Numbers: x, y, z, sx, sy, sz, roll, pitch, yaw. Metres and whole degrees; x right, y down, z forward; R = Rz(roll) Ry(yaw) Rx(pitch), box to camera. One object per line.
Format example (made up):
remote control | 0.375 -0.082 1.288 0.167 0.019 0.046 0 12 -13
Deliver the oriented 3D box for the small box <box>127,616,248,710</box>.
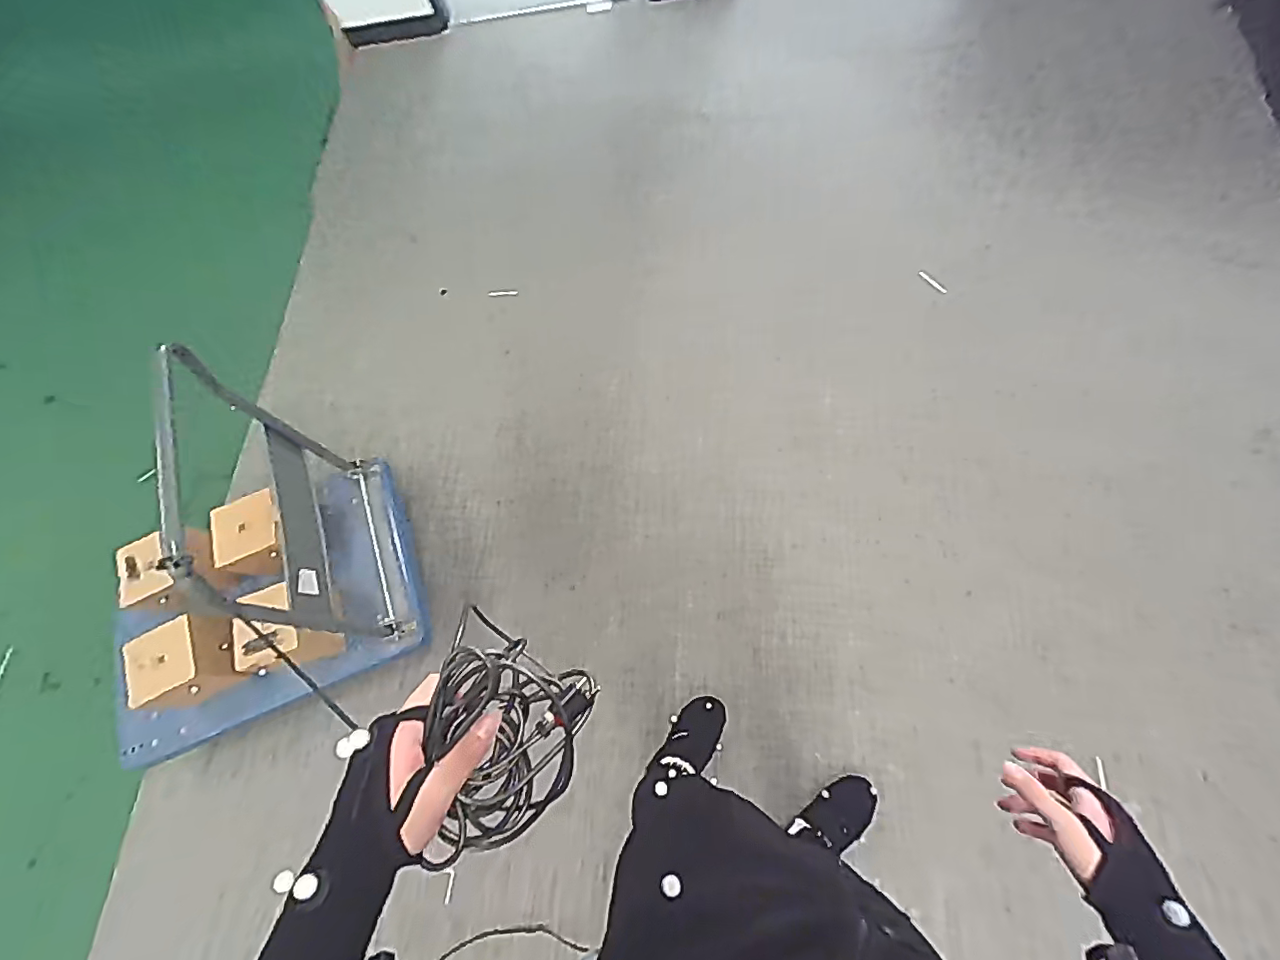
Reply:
small box | -1.137 0.464 1.374 0.179 0.176 0.168 -27 68 -1

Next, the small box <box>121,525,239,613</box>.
small box | -1.242 0.248 1.466 0.179 0.176 0.168 -25 70 0

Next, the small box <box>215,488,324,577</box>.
small box | -0.997 0.150 1.462 0.179 0.176 0.168 -23 69 0
